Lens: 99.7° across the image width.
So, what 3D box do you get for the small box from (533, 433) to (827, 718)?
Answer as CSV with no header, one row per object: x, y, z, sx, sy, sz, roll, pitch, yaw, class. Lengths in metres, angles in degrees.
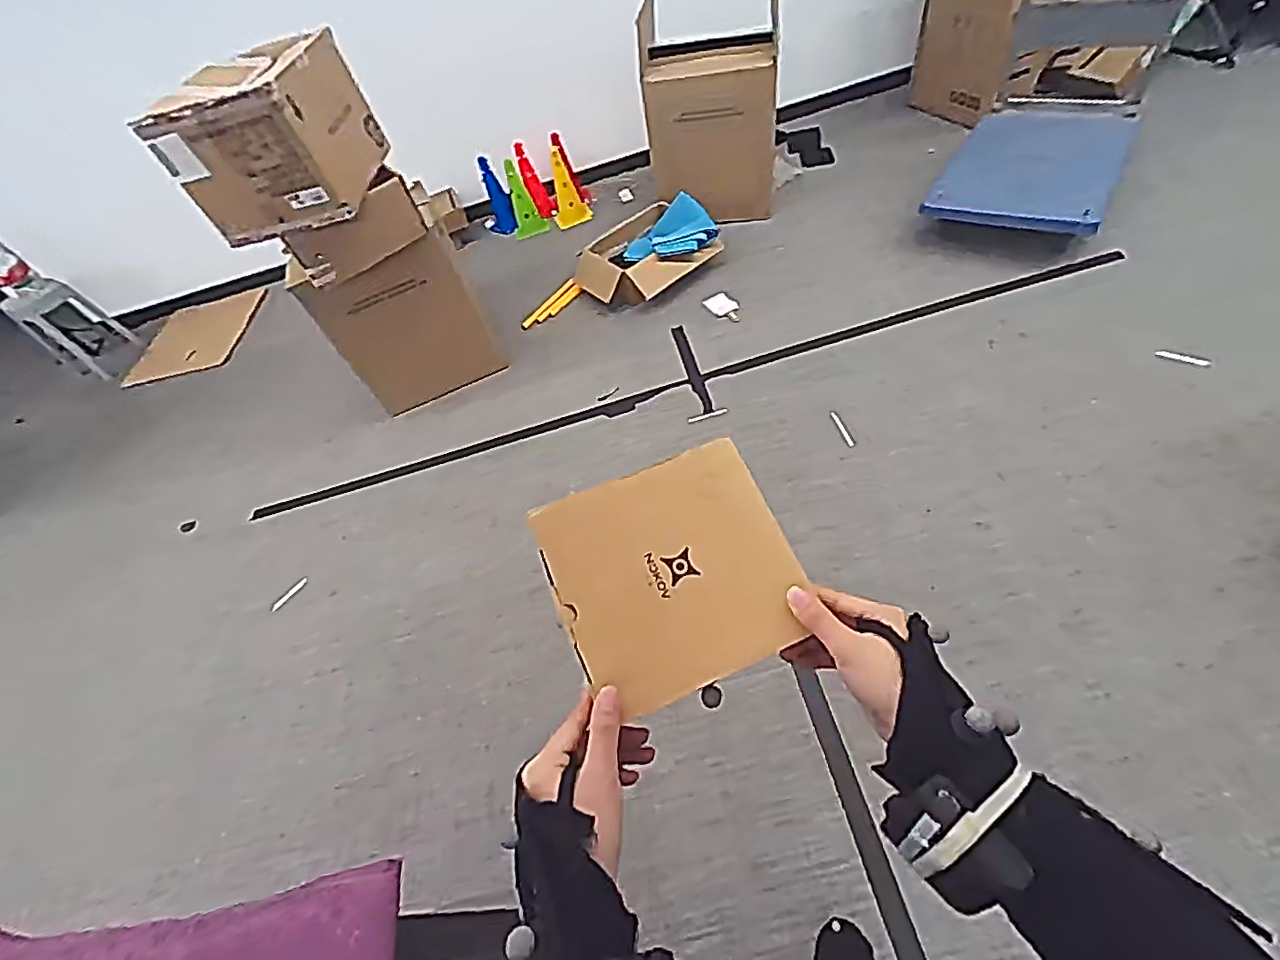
0.024,0.088,0.474,0.179,0.176,0.168,-22,70,-9,small box
